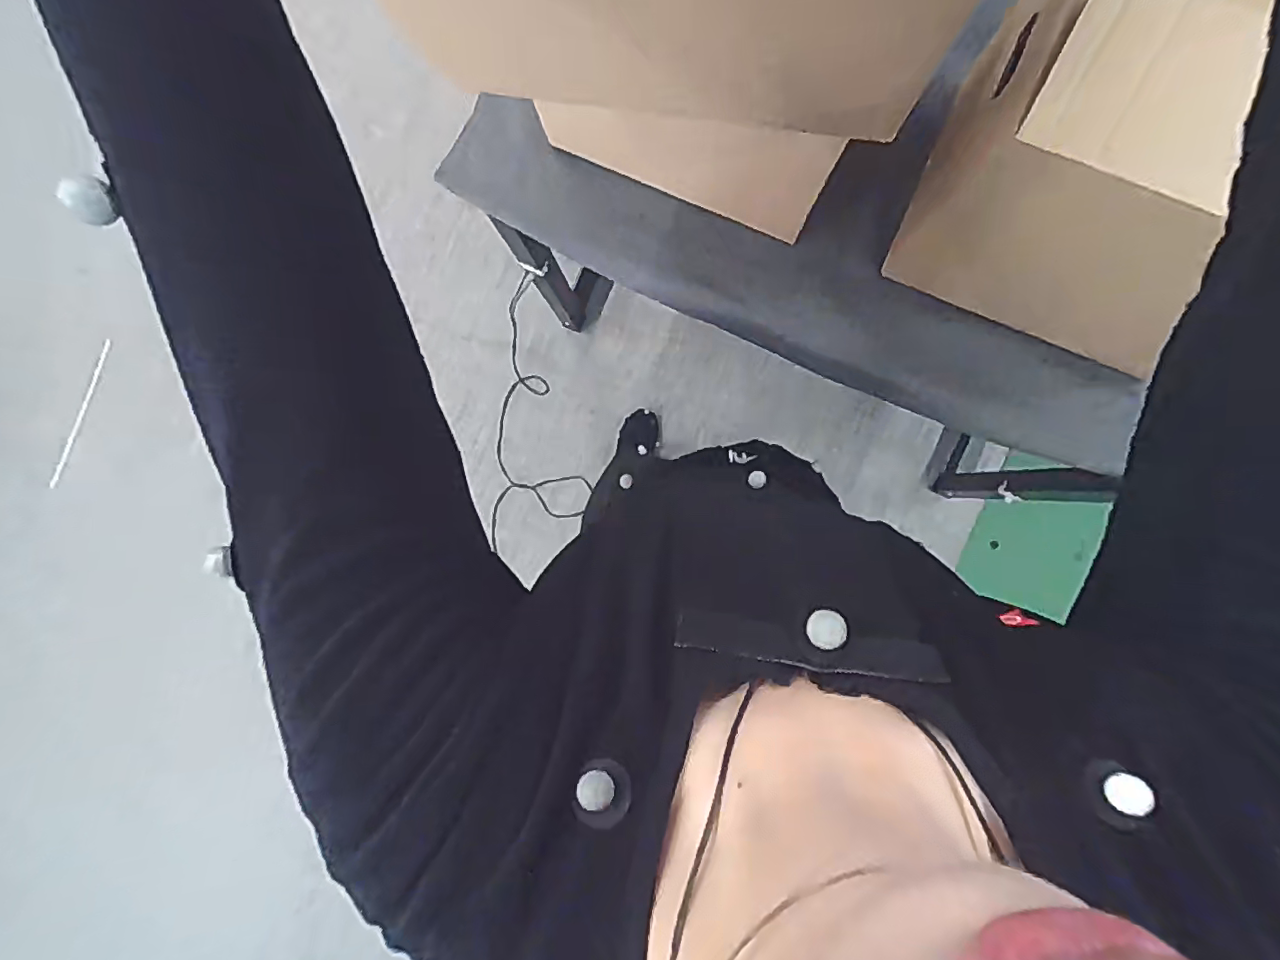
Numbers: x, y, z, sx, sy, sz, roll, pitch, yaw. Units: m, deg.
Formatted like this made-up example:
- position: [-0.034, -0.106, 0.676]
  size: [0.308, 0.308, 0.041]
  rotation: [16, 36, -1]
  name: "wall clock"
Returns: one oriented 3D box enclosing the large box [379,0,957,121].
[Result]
- position: [0.015, -0.457, 0.305]
  size: [0.408, 0.320, 0.320]
  rotation: [11, 101, 6]
  name: "large box"
